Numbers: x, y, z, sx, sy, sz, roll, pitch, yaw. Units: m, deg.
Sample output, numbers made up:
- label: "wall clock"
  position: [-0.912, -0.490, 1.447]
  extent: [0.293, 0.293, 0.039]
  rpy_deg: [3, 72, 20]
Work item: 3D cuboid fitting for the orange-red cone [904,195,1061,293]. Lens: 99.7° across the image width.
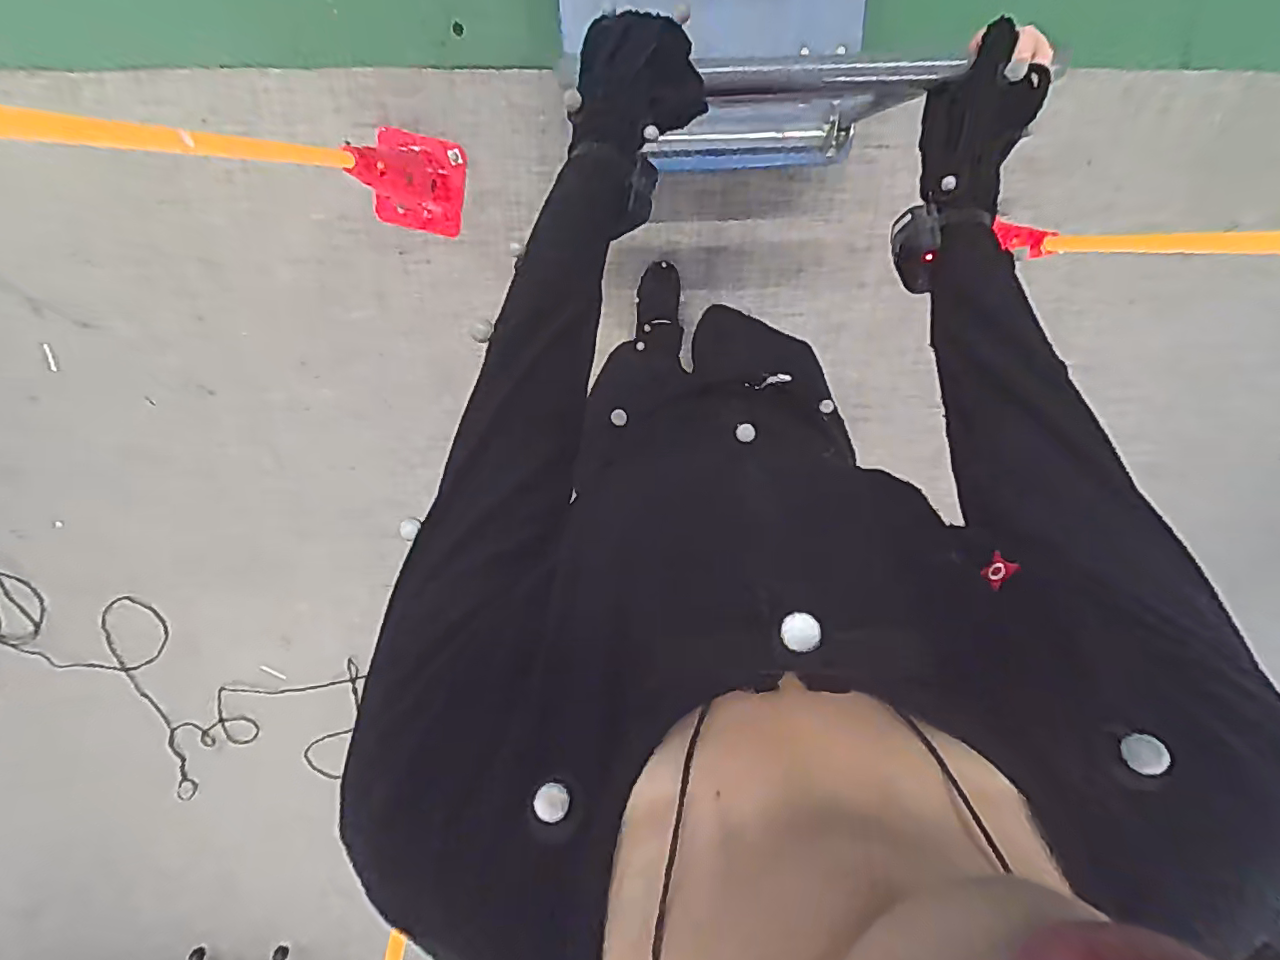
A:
- label: "orange-red cone"
  position: [0.772, -0.510, 1.174]
  extent: [0.198, 0.360, 0.199]
  rpy_deg: [10, 113, -5]
